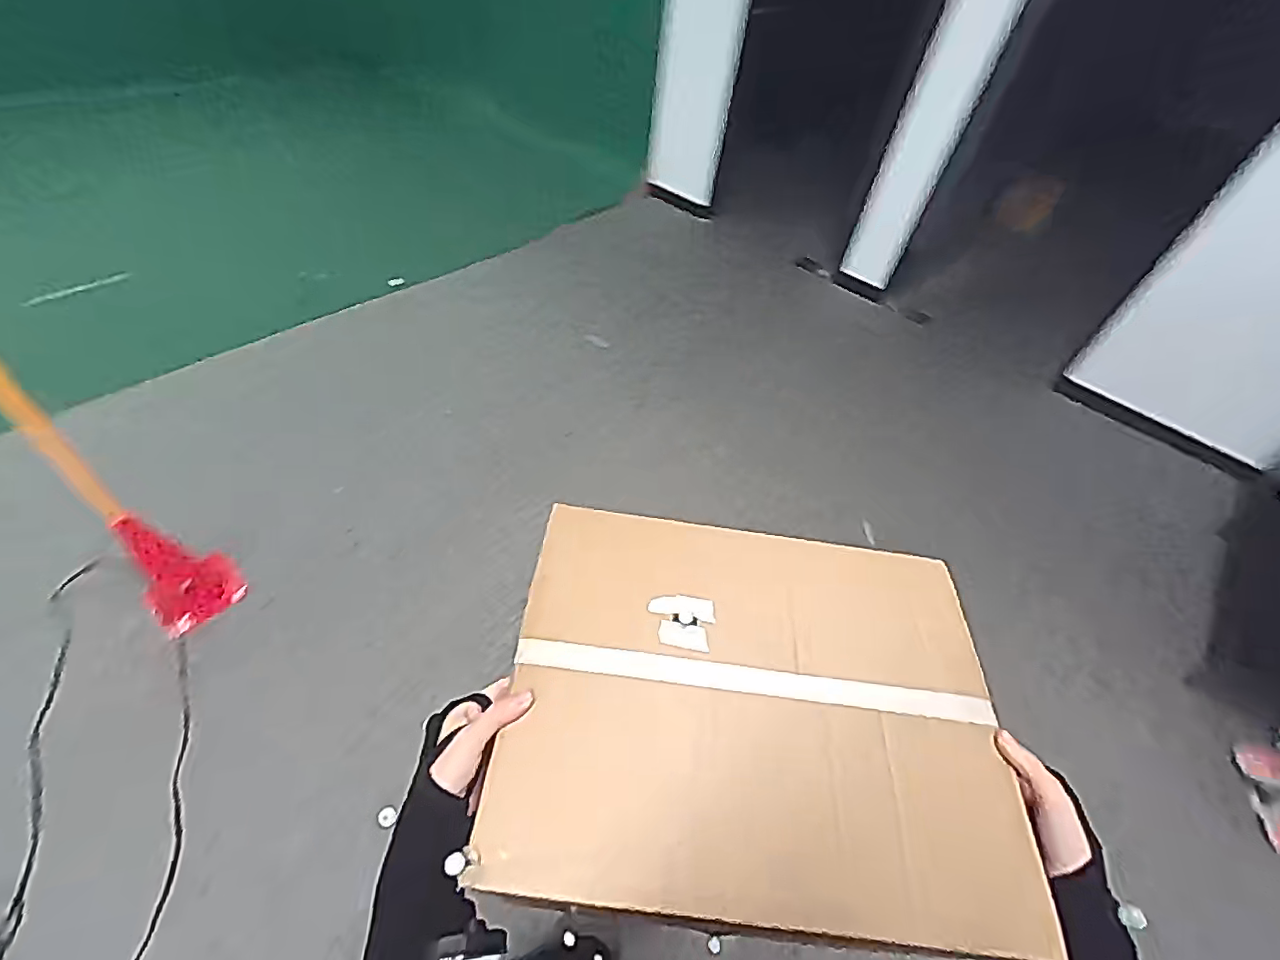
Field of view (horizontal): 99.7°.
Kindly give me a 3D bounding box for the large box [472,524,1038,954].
[{"bbox_3d":[0.082,0.276,0.578,0.408,0.320,0.320,7,50,-1],"label":"large box"}]
